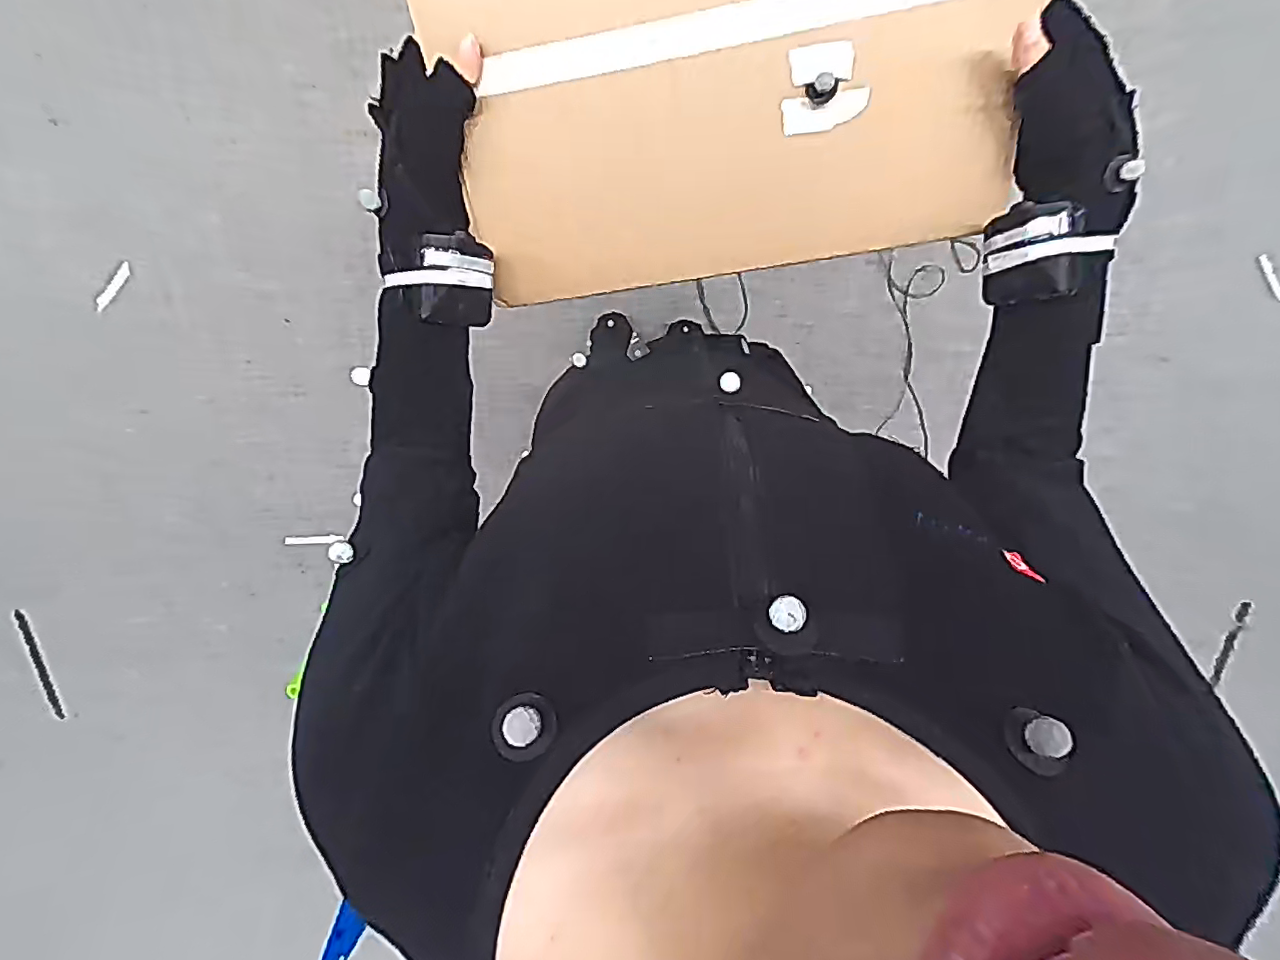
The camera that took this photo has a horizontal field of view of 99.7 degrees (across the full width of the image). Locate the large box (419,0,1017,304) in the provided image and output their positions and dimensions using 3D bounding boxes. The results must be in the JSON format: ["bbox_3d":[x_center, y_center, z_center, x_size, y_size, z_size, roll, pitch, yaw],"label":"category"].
[{"bbox_3d":[0.055,-0.377,0.503,0.408,0.320,0.320,-7,118,6],"label":"large box"}]

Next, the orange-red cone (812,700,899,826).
[{"bbox_3d":[0.658,0.844,1.586,0.198,0.360,0.199,-2,106,0],"label":"orange-red cone"}]
